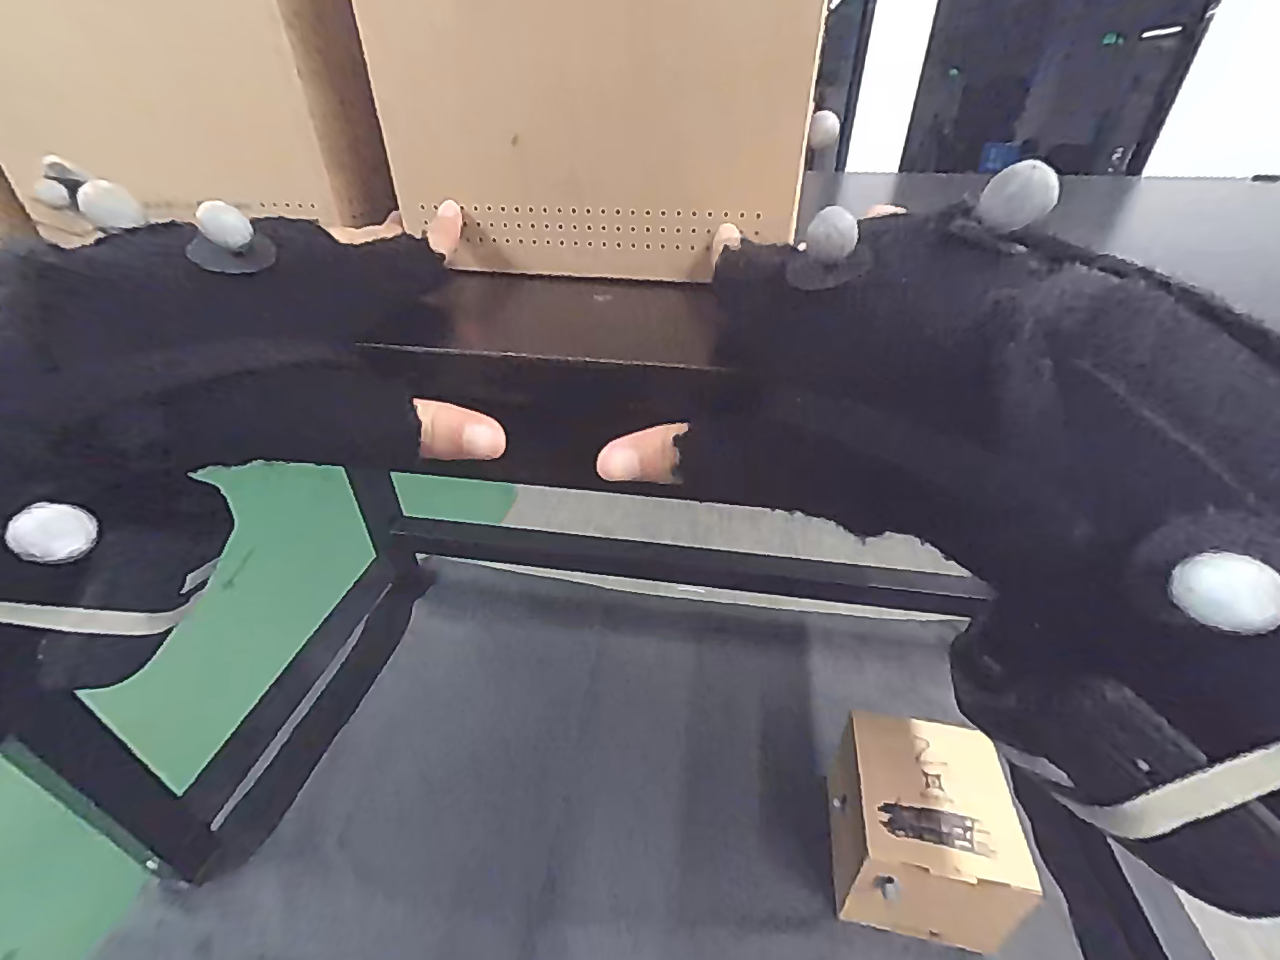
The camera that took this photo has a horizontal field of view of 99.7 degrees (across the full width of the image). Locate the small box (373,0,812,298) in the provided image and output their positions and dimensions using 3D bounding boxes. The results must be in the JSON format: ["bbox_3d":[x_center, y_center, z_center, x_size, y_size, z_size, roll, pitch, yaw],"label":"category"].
[{"bbox_3d":[-0.011,-0.196,0.267,0.179,0.176,0.168,7,35,10],"label":"small box"}]
